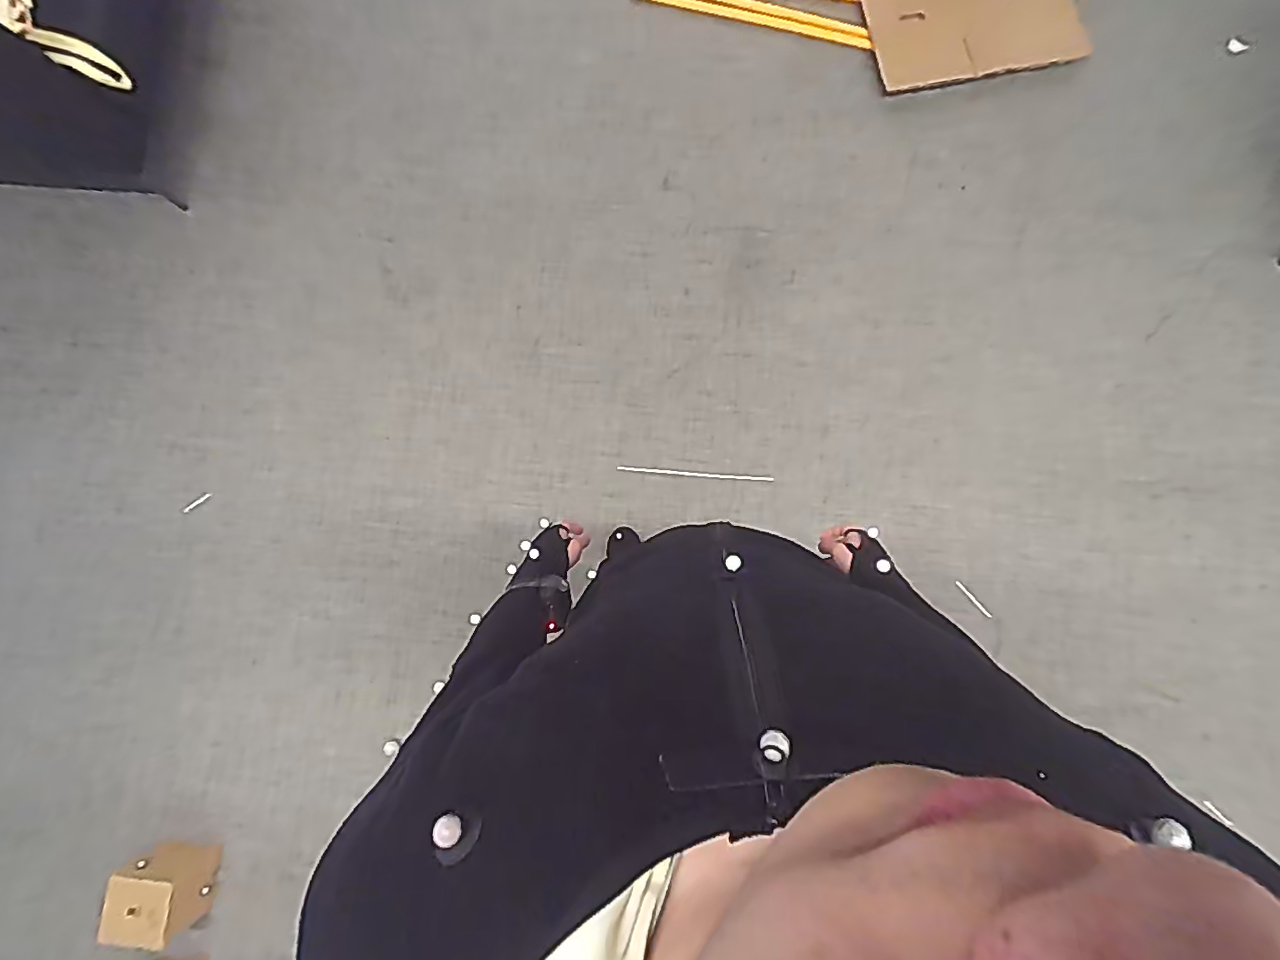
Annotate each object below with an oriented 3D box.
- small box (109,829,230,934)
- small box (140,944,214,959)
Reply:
[{"bbox_3d":[-1.310,1.114,1.516,0.179,0.176,0.168,7,84,2],"label":"small box"},{"bbox_3d":[-1.331,1.426,1.485,0.179,0.176,0.168,4,84,1],"label":"small box"}]
